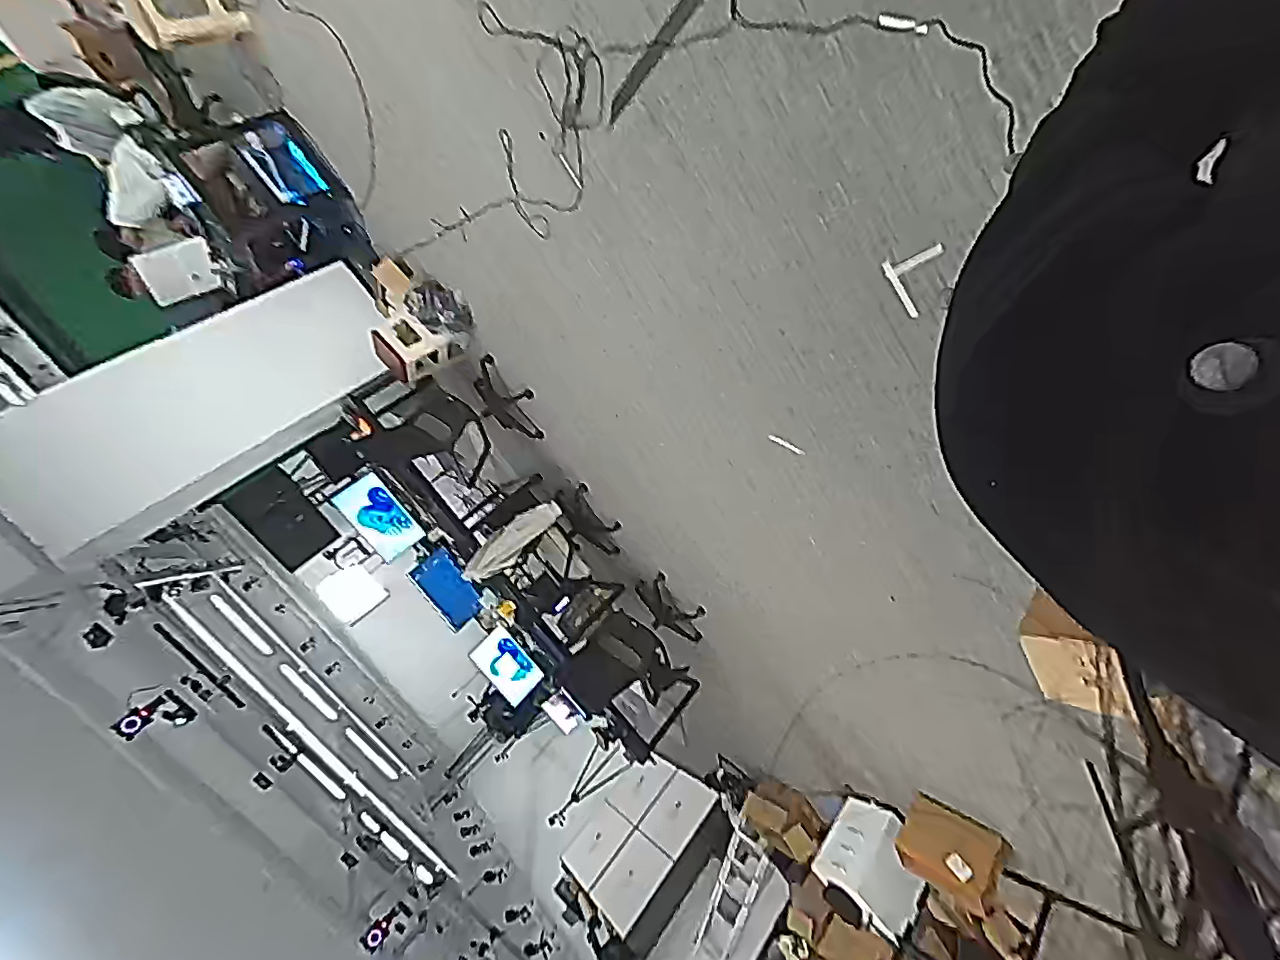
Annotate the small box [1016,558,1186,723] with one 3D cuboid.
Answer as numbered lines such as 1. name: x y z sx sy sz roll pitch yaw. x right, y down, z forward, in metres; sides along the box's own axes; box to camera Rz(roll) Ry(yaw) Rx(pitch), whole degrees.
1. small box: 0.768 0.256 0.897 0.168 0.176 0.179 -3 126 56
